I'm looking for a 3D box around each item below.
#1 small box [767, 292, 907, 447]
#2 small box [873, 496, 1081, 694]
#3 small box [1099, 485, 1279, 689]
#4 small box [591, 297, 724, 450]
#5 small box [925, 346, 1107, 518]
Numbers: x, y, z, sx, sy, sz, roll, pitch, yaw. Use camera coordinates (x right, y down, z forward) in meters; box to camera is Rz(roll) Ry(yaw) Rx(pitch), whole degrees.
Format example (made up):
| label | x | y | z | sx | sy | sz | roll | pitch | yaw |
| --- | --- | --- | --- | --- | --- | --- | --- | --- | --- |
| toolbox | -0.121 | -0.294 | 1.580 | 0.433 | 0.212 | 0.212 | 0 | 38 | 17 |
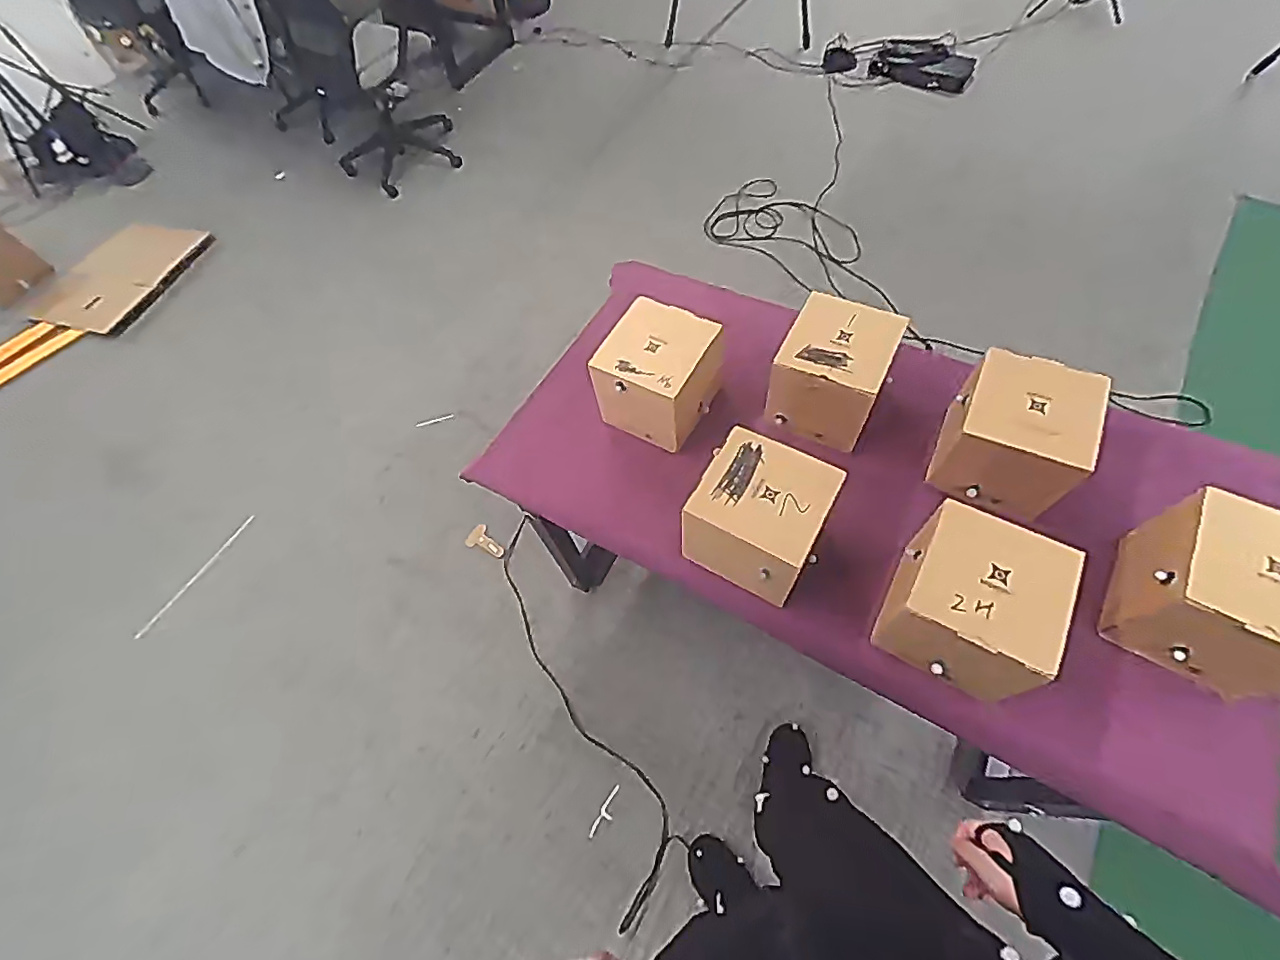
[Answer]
| label | x | y | z | sx | sy | sz | roll | pitch | yaw |
| --- | --- | --- | --- | --- | --- | --- | --- | --- | --- |
| small box | 0.330 | -0.185 | 0.936 | 0.168 | 0.176 | 0.179 | 24 | 66 | 18 |
| small box | 0.438 | 0.159 | 0.728 | 0.168 | 0.176 | 0.179 | 26 | 66 | 20 |
| small box | 0.750 | 0.144 | 0.702 | 0.168 | 0.176 | 0.179 | 27 | 68 | 20 |
| small box | 0.036 | -0.187 | 0.969 | 0.168 | 0.176 | 0.179 | 25 | 66 | 20 |
| small box | 0.573 | -0.071 | 0.844 | 0.168 | 0.176 | 0.179 | 23 | 66 | 19 |
